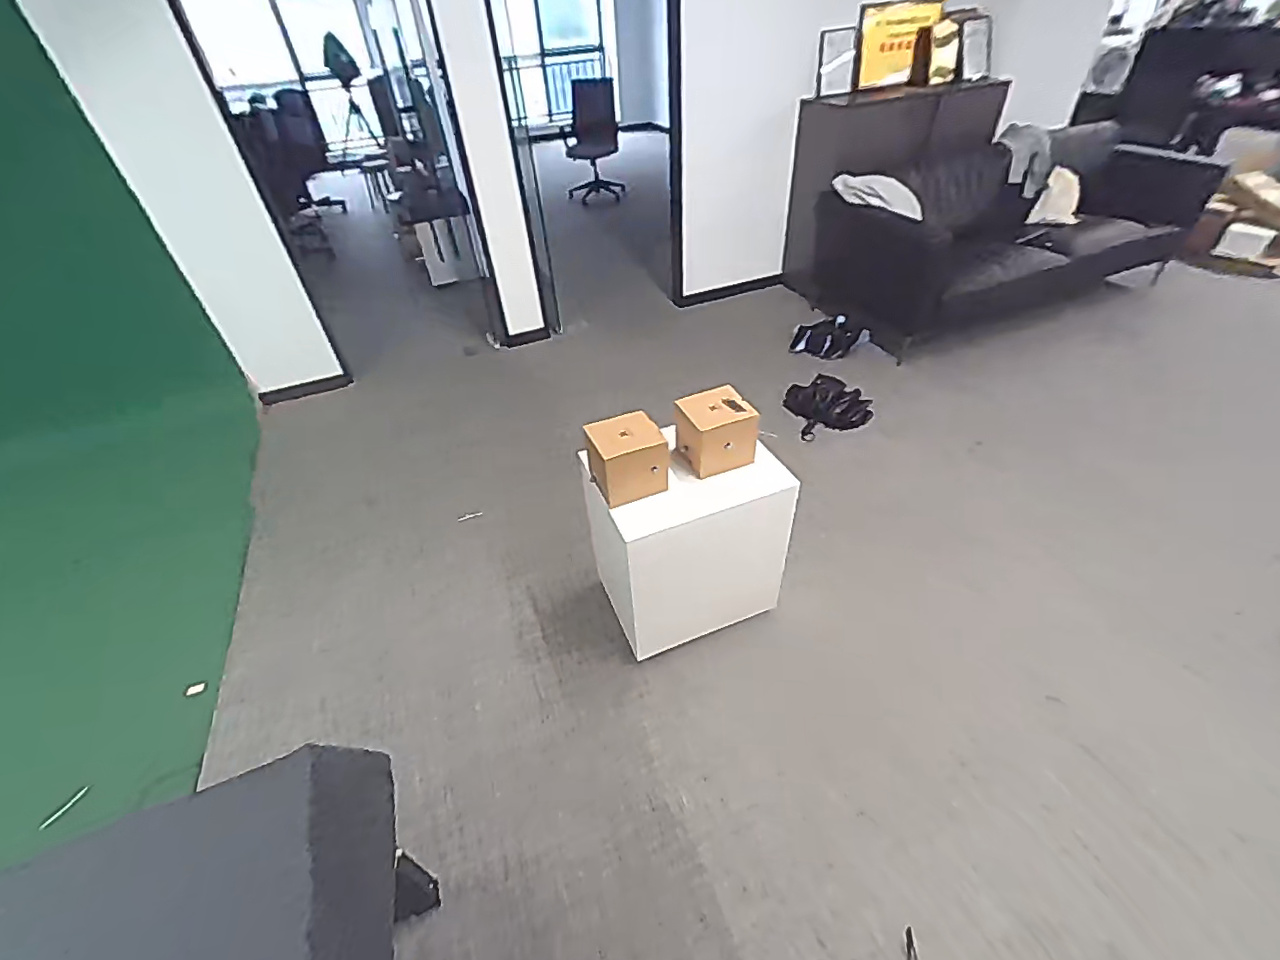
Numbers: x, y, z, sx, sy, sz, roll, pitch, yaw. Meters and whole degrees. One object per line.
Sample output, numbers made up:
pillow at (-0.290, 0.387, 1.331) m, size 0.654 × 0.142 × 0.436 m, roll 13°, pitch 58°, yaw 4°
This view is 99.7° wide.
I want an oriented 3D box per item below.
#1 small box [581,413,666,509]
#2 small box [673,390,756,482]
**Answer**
small box at (-0.045, -0.050, 1.432) m, size 0.179 × 0.176 × 0.168 m, roll -17°, pitch 42°, yaw -18°
small box at (0.199, -0.122, 1.507) m, size 0.179 × 0.176 × 0.168 m, roll -17°, pitch 43°, yaw -15°
